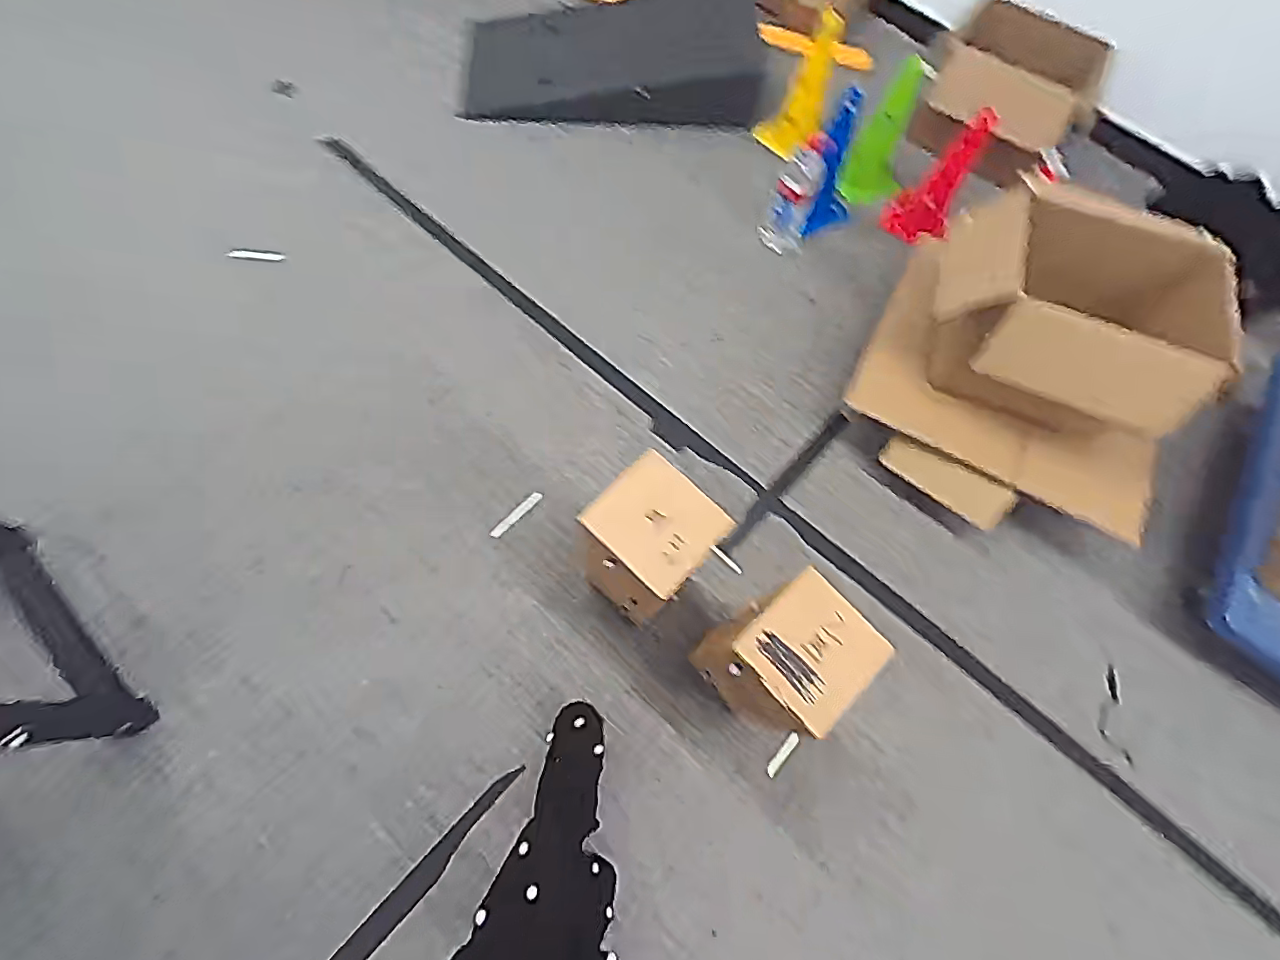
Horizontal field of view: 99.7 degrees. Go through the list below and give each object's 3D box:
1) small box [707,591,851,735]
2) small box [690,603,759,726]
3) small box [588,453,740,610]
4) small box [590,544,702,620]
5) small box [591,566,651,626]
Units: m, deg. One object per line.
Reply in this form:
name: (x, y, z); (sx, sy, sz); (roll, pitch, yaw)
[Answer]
small box: (0.238, 0.333, 0.985); (0.179, 0.176, 0.168); (-40, 77, -18)
small box: (0.229, 0.386, 1.141); (0.168, 0.176, 0.179); (-39, 78, -16)
small box: (0.030, 0.093, 0.886); (0.179, 0.176, 0.168); (43, 73, 10)
small box: (0.018, 0.151, 1.041); (0.179, 0.176, 0.168); (42, 72, 10)
small box: (0.009, 0.202, 1.195); (0.168, 0.176, 0.179); (42, 71, 10)
